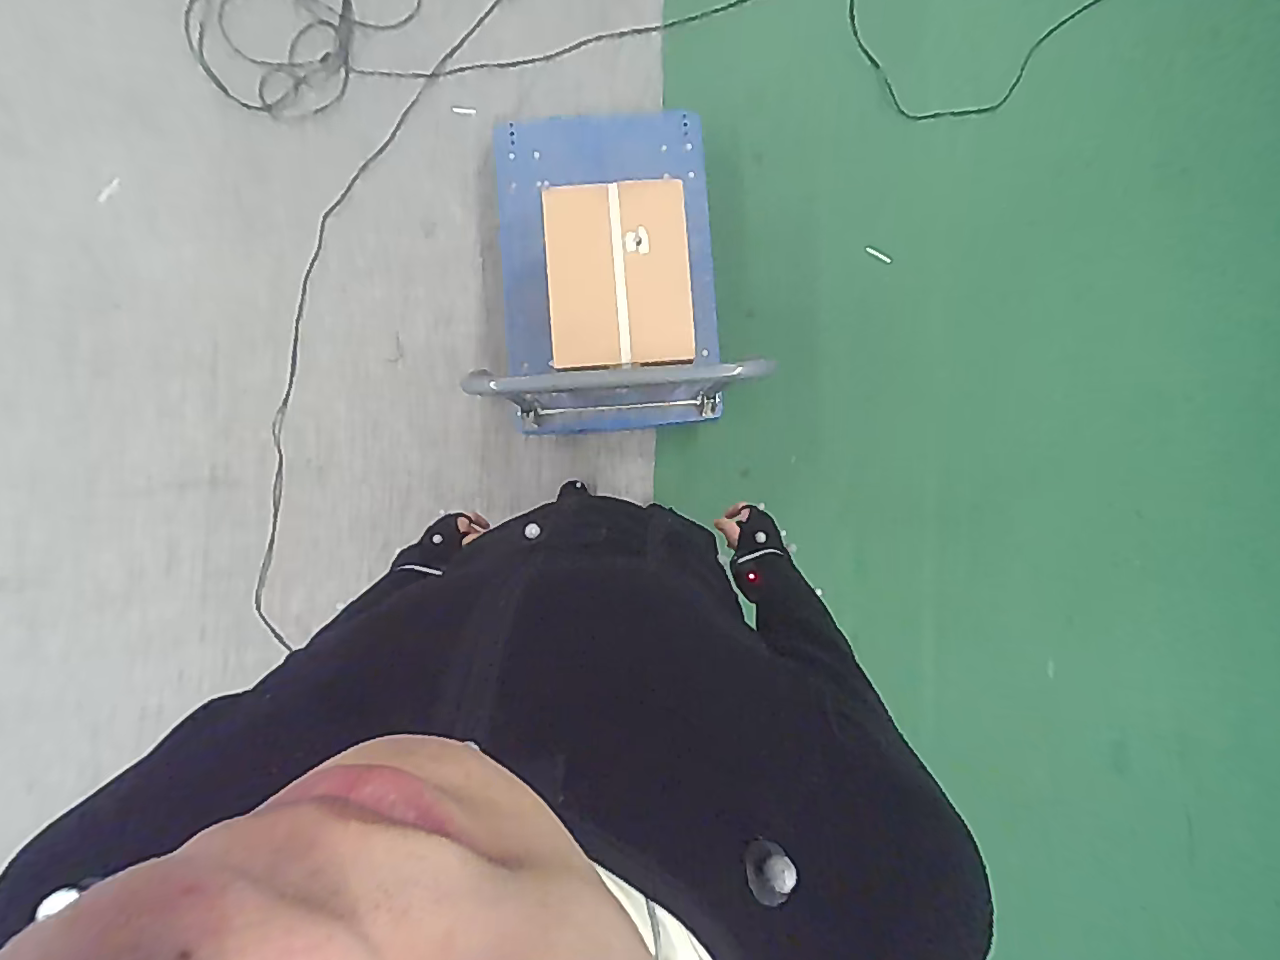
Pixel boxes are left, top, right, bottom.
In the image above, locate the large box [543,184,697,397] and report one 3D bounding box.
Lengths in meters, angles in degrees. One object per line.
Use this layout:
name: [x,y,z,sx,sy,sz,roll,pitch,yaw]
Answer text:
large box: [-0.047,-0.440,1.332,0.320,0.320,0.408,-4,88,-2]
